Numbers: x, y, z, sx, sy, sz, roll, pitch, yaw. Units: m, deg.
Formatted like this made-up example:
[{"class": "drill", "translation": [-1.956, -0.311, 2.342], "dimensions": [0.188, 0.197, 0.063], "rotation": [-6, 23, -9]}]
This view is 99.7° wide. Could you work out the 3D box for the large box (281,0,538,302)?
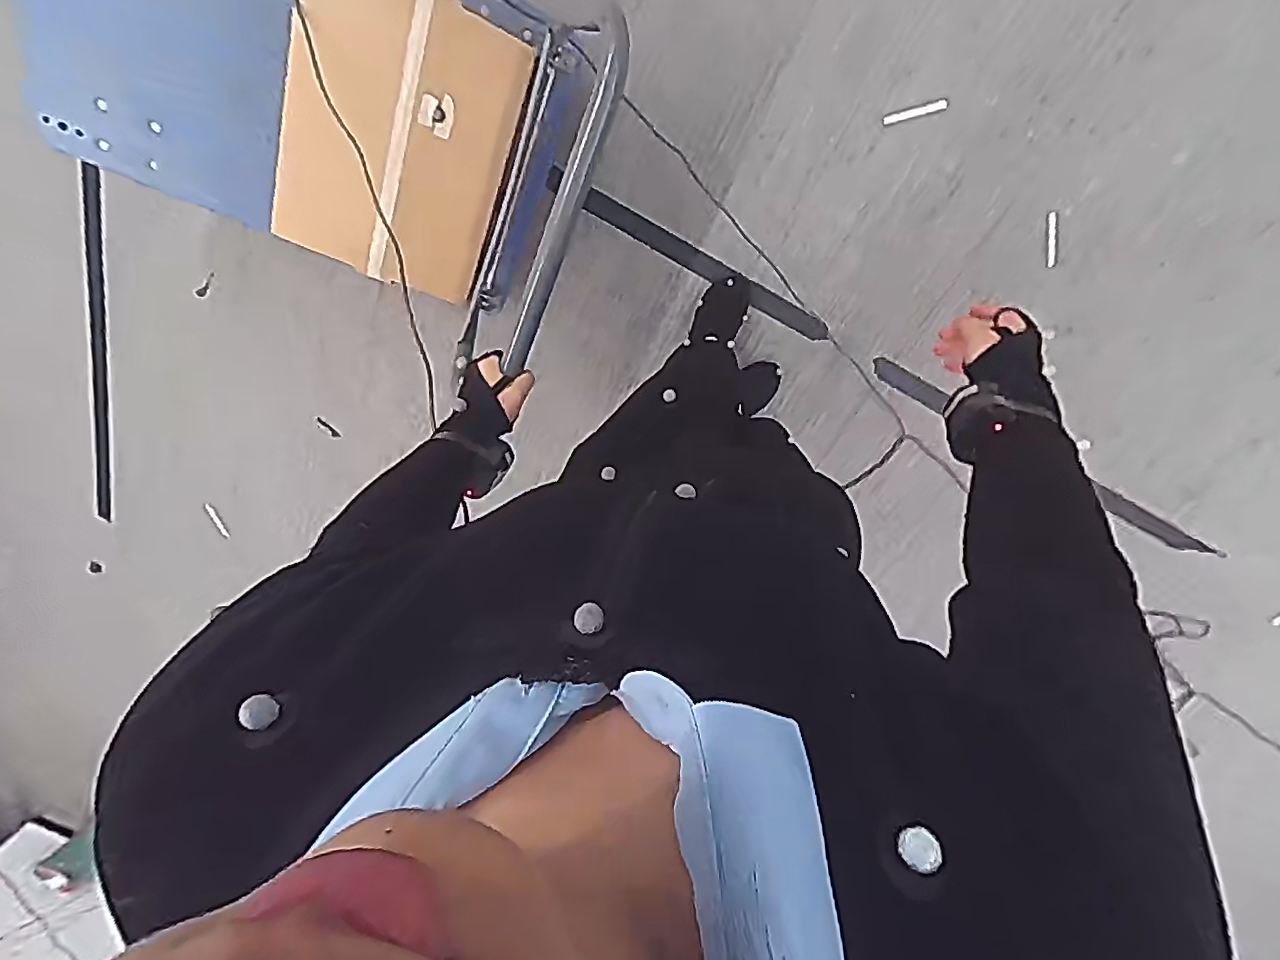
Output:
[{"class": "large box", "translation": [-0.389, -0.594, 0.962], "dimensions": [0.320, 0.320, 0.408], "rotation": [16, 118, -20]}]
